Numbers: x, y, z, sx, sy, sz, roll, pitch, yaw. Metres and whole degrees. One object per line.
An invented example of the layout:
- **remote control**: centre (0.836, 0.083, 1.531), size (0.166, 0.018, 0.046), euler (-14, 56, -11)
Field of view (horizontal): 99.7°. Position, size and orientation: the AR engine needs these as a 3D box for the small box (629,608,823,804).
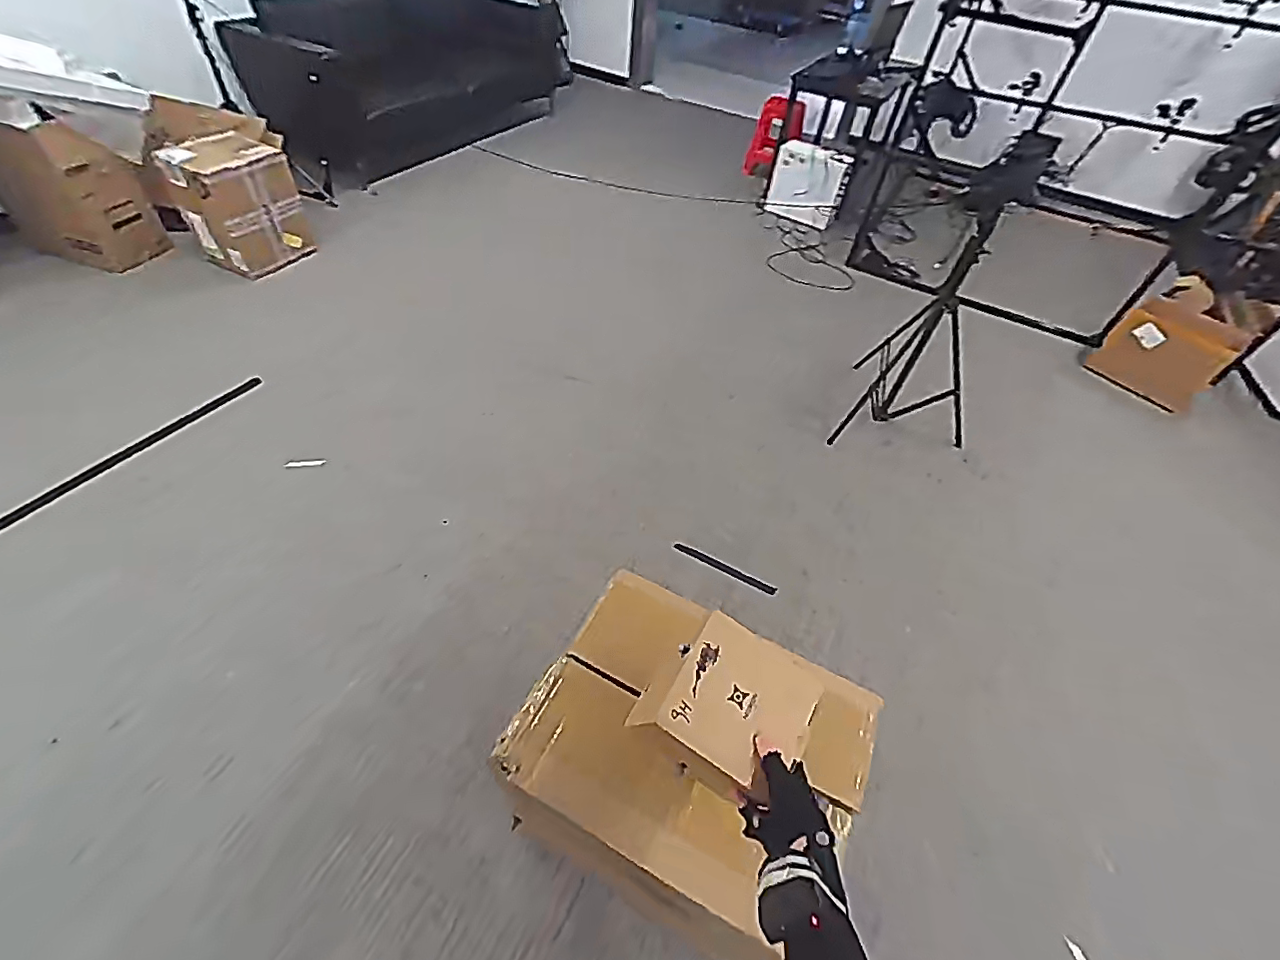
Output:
- **small box**: centre (0.109, 0.305, 0.737), size (0.179, 0.176, 0.168), euler (33, 60, 3)
